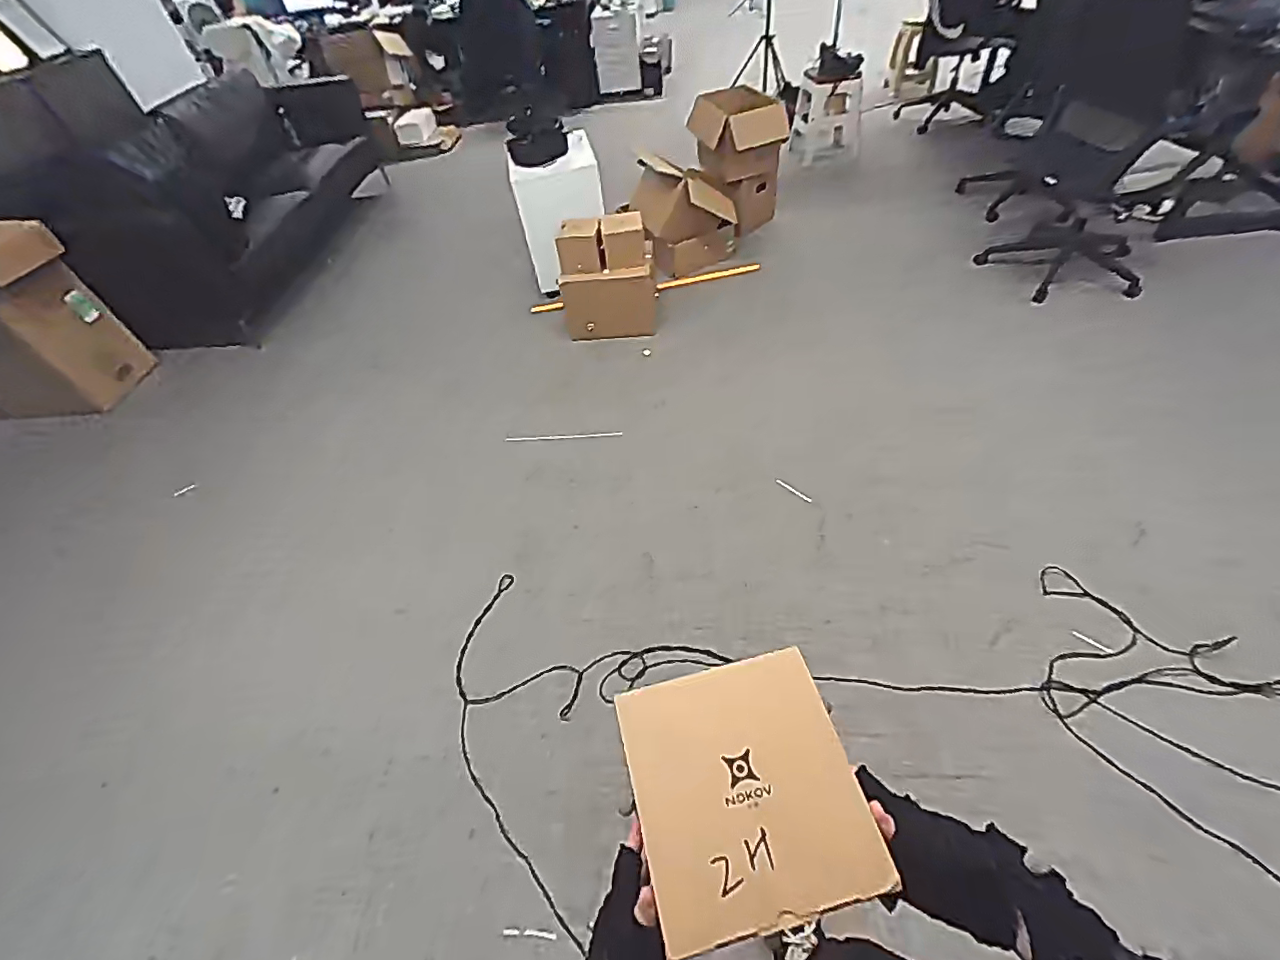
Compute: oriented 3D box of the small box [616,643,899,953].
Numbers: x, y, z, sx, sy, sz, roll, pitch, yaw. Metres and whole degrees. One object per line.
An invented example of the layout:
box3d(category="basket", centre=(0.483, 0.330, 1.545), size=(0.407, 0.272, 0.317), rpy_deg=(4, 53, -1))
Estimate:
box3d(category="small box", centre=(0.080, 0.270, 0.464), size=(0.168, 0.176, 0.179), rpy_deg=(-13, 52, -5))
